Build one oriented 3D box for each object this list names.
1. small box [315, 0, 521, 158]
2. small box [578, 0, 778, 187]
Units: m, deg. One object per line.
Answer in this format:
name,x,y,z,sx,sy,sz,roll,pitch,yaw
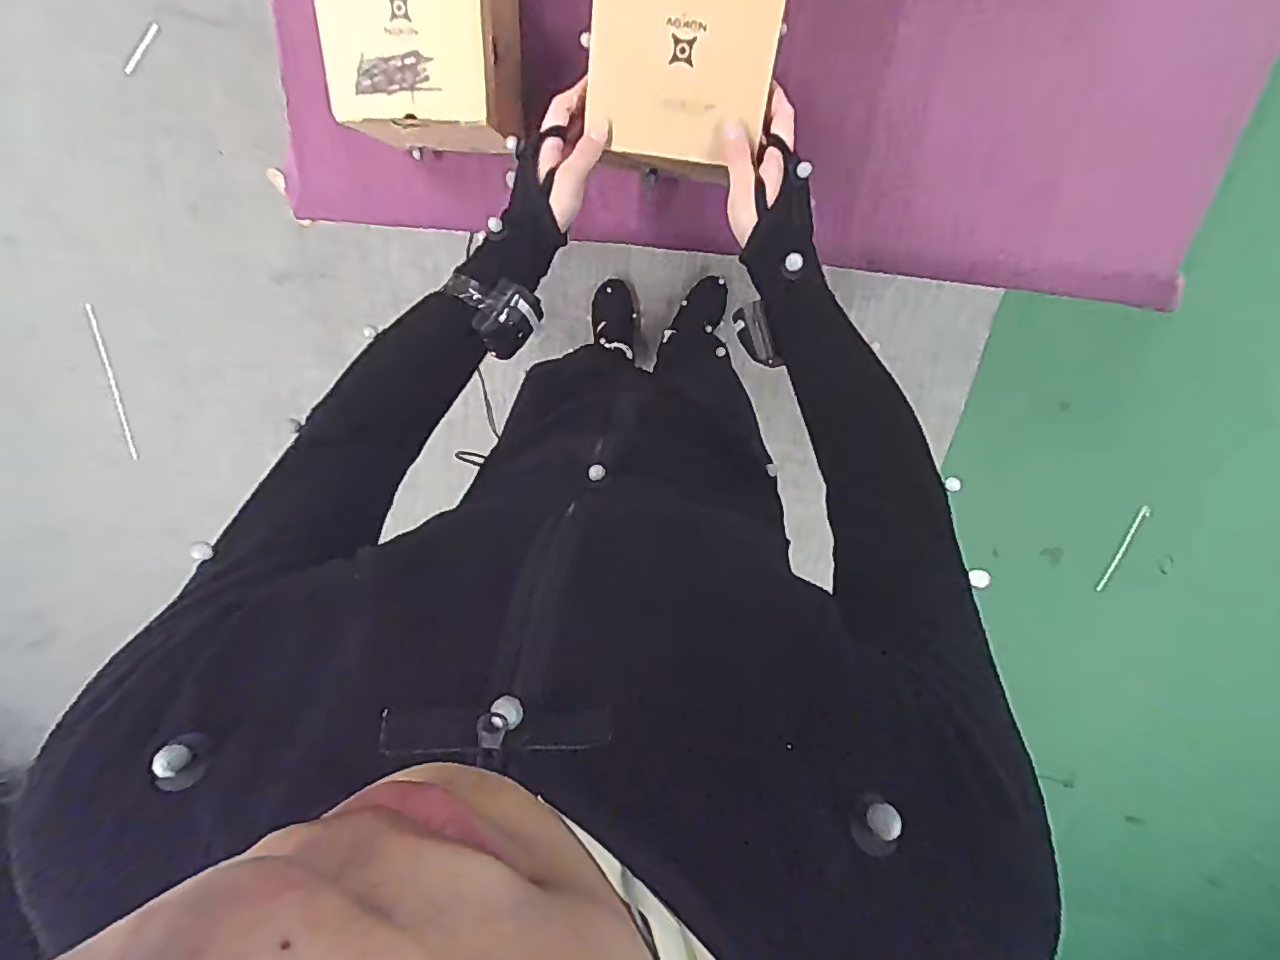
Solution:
small box,-0.237,-0.481,0.617,0.168,0.176,0.179,3,111,2
small box,0.036,-0.415,0.554,0.168,0.176,0.179,8,114,1
